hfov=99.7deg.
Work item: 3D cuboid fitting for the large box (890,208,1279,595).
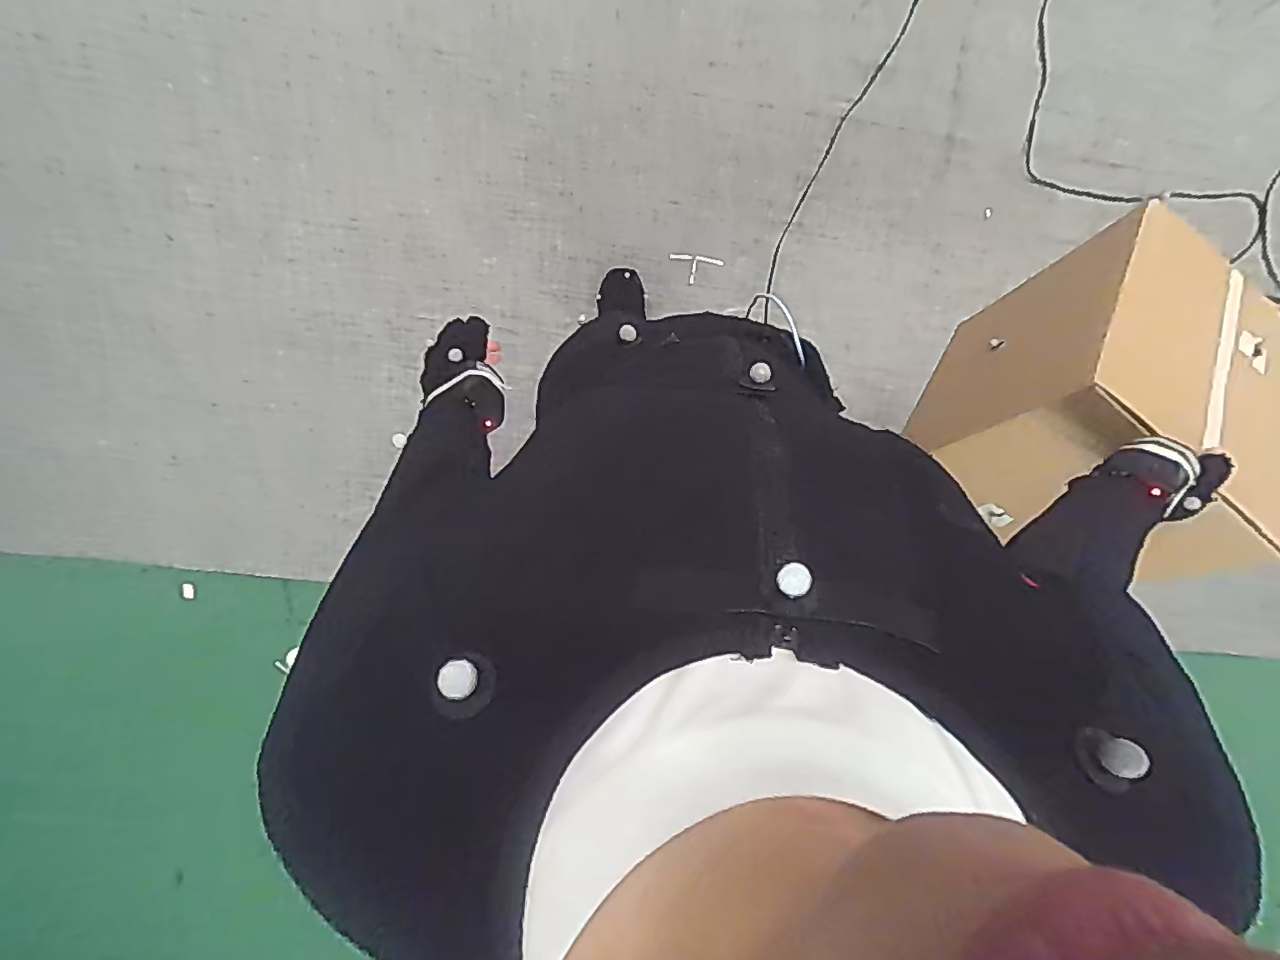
[{"bbox_3d":[0.650,-0.094,0.801,0.320,0.320,0.408,40,64,-4],"label":"large box"}]
